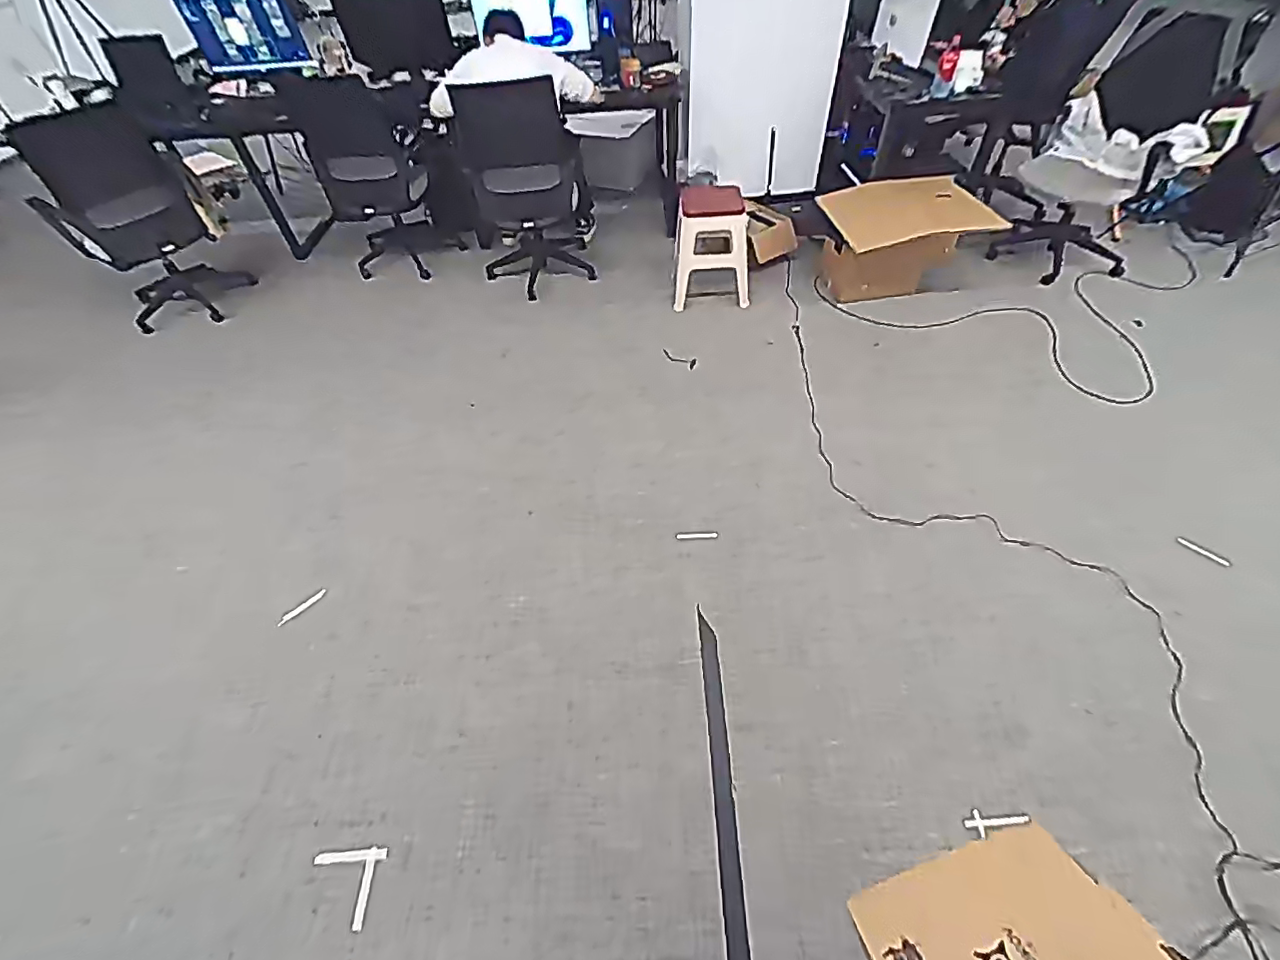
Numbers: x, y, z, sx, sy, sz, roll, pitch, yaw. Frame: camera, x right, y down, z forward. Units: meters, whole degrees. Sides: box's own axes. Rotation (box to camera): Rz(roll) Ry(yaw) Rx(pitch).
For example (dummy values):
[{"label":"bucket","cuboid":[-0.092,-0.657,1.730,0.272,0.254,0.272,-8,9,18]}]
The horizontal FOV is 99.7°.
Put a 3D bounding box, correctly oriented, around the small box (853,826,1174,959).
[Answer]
[{"label":"small box","cuboid":[0.293,0.412,0.393,0.179,0.176,0.168,-22,9,0]}]
